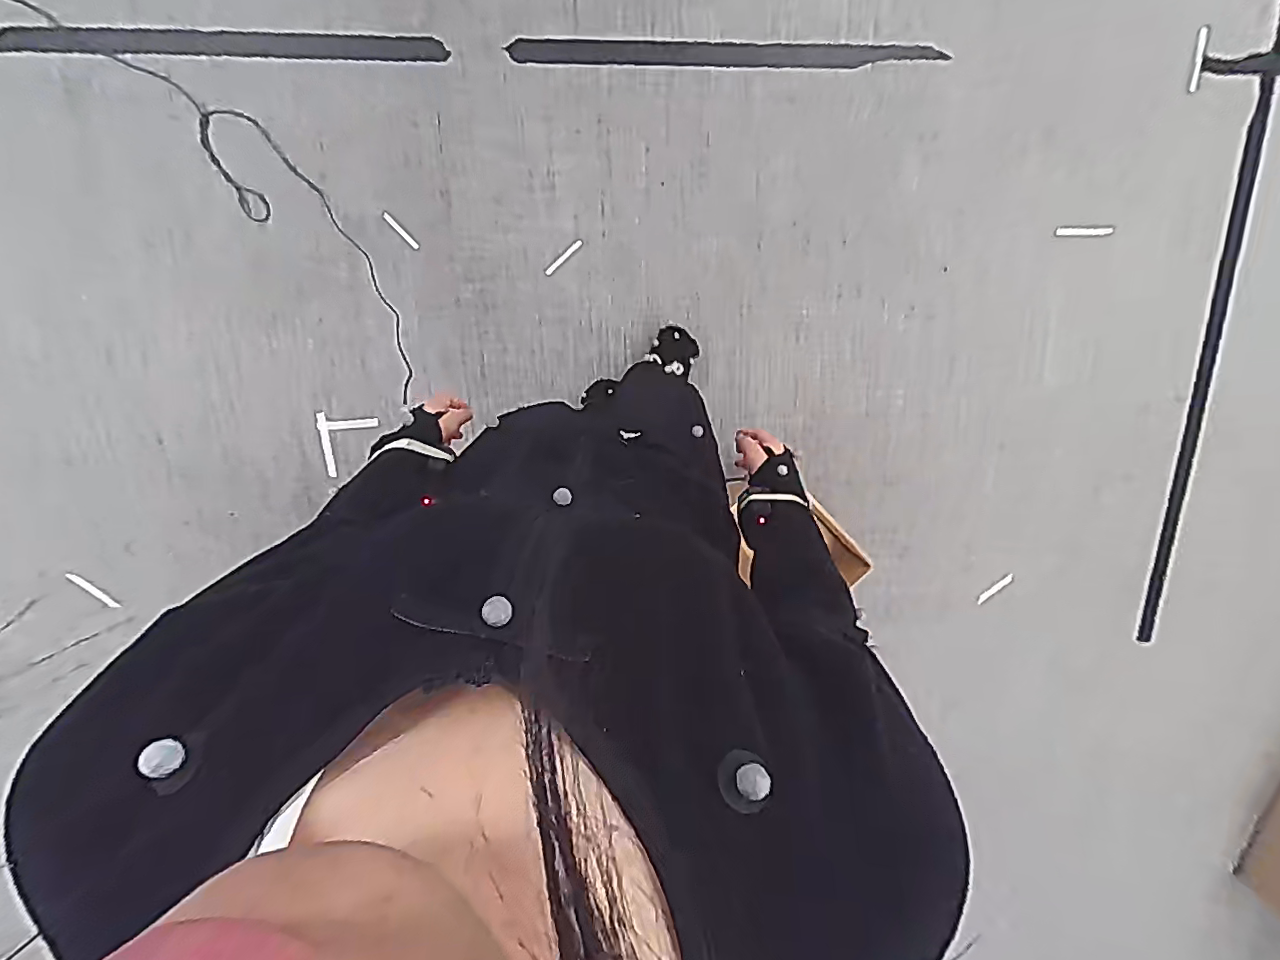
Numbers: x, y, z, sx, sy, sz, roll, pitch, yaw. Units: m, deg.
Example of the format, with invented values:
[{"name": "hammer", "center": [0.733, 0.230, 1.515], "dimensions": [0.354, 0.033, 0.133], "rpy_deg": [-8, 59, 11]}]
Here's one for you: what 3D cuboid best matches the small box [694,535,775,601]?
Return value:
[{"name": "small box", "center": [0.270, 0.279, 1.474], "dimensions": [0.168, 0.176, 0.179], "rpy_deg": [-45, 102, 8]}]
